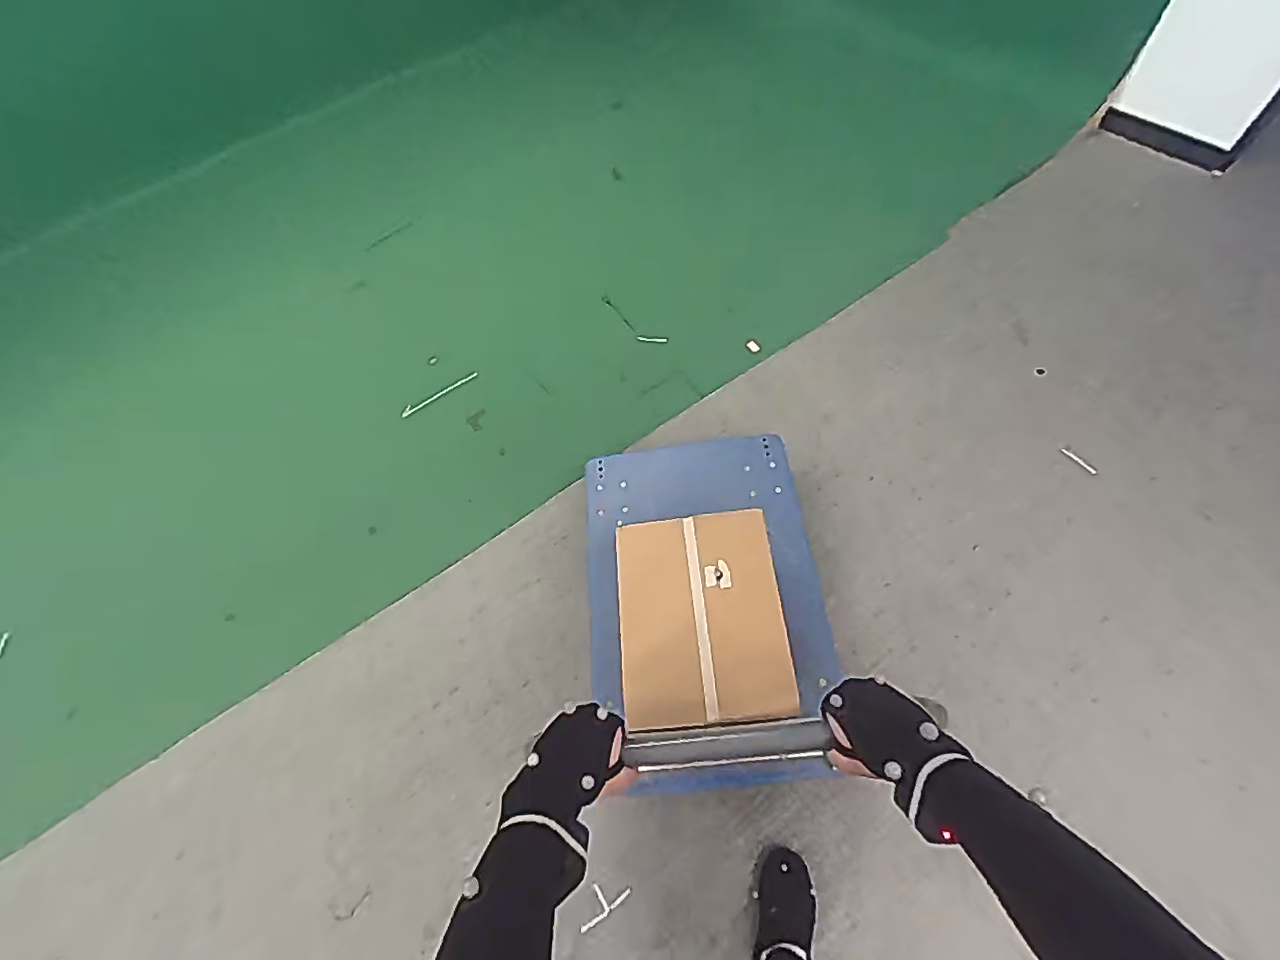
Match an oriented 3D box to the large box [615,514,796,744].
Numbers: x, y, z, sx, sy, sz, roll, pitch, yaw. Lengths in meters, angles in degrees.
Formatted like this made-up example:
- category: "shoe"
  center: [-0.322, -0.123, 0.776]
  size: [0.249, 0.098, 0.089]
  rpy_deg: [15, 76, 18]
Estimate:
- category: "large box"
  center: [0.135, 0.337, 1.192]
  size: [0.320, 0.320, 0.408]
  rpy_deg: [-7, 59, 5]
